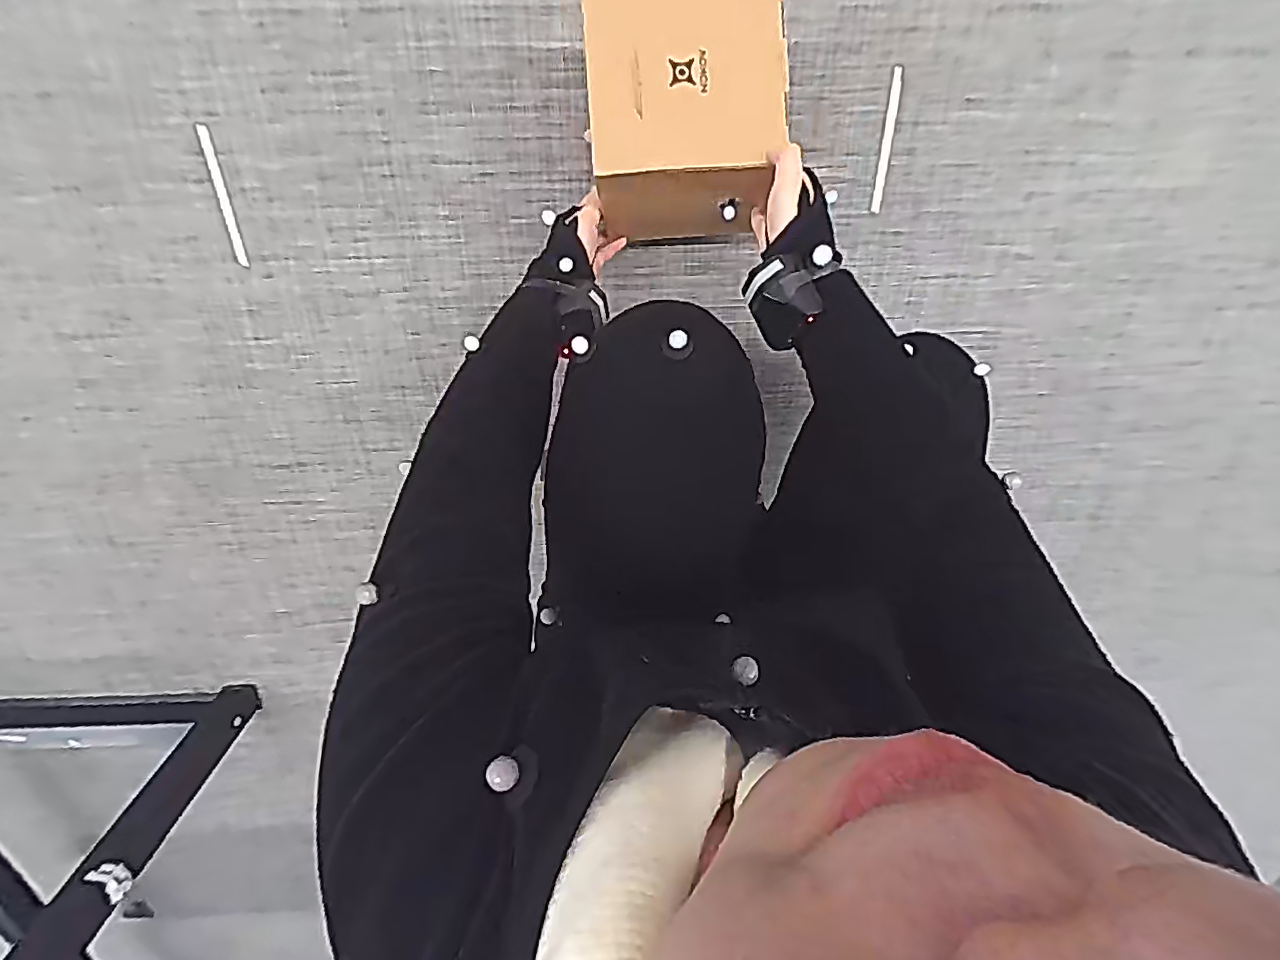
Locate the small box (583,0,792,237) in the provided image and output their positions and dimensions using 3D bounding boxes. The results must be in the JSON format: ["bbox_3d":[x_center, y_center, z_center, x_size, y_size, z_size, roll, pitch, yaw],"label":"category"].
[{"bbox_3d":[0.041,-0.357,0.538,0.179,0.176,0.168,-3,95,1],"label":"small box"}]
